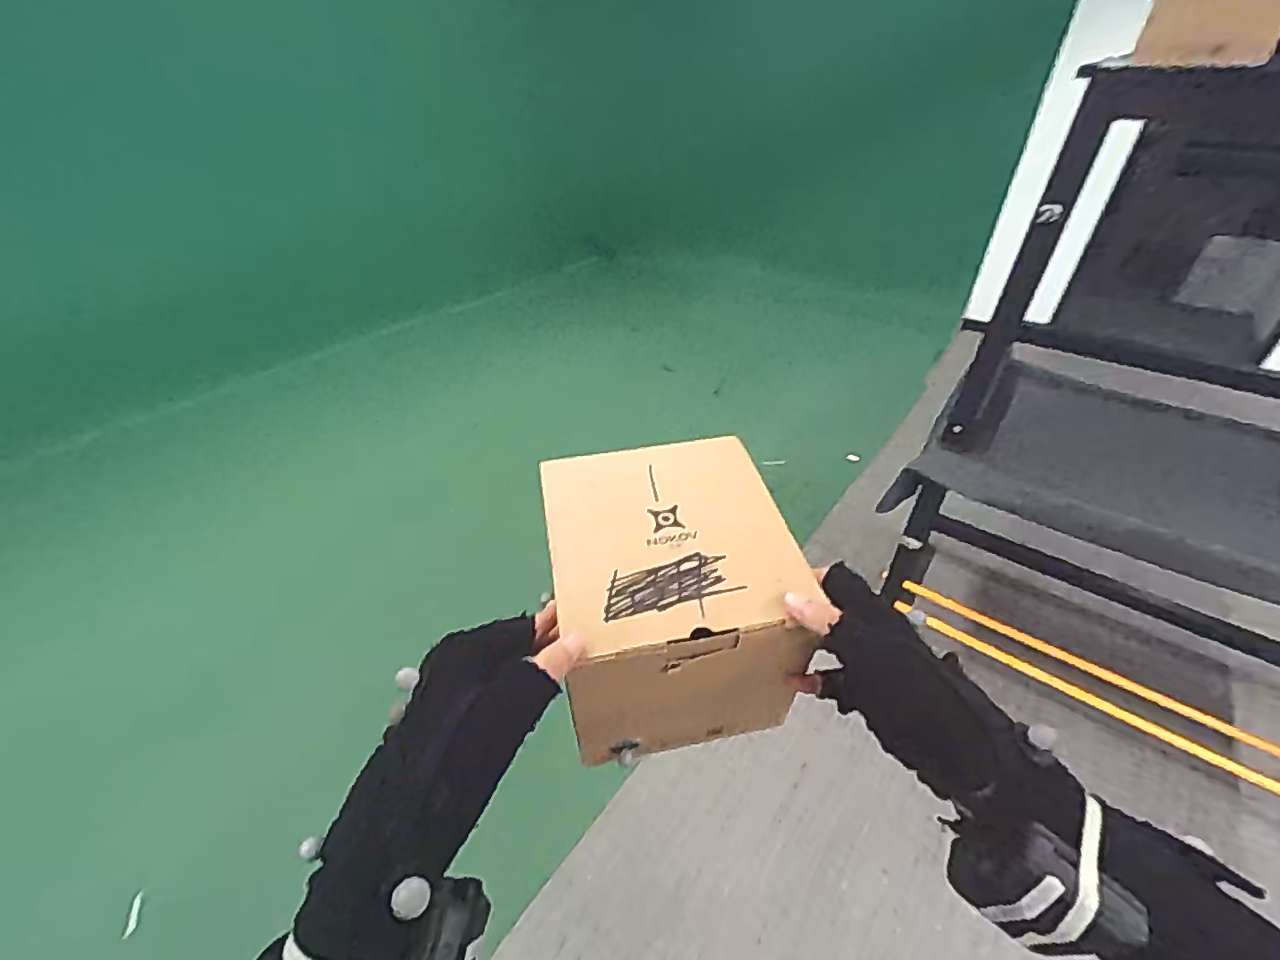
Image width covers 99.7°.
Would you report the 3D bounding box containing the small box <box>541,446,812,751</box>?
[{"bbox_3d":[0.016,0.099,0.441,0.168,0.176,0.179,-8,44,-8],"label":"small box"}]
